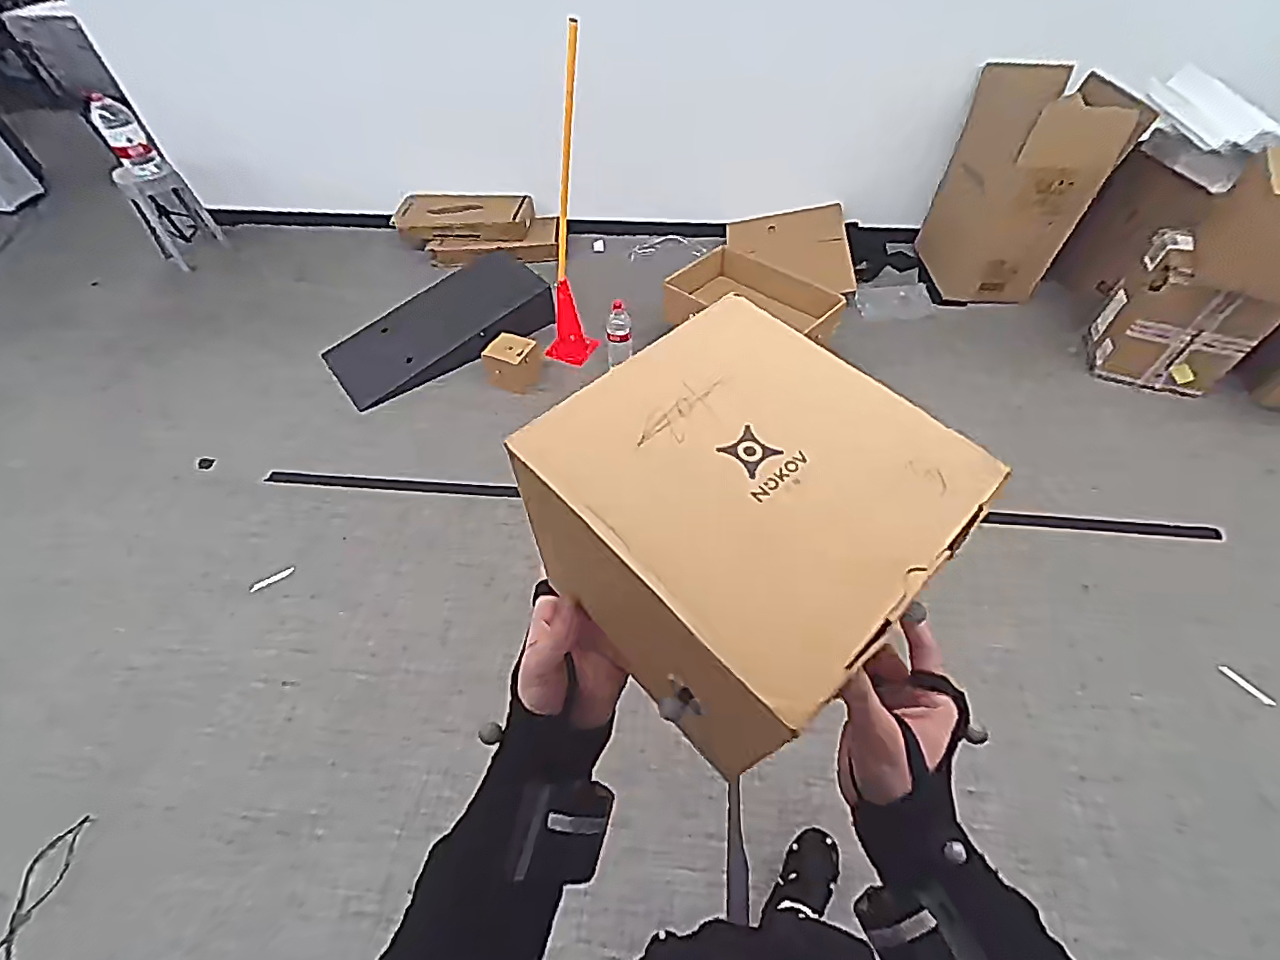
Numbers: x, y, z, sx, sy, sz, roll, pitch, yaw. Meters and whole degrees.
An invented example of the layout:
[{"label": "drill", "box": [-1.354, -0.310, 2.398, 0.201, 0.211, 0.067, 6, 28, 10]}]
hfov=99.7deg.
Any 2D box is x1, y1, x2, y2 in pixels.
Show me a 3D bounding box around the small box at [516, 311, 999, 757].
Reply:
[{"label": "small box", "box": [0.055, 0.040, 0.327, 0.168, 0.176, 0.179, -39, 64, -24]}]
